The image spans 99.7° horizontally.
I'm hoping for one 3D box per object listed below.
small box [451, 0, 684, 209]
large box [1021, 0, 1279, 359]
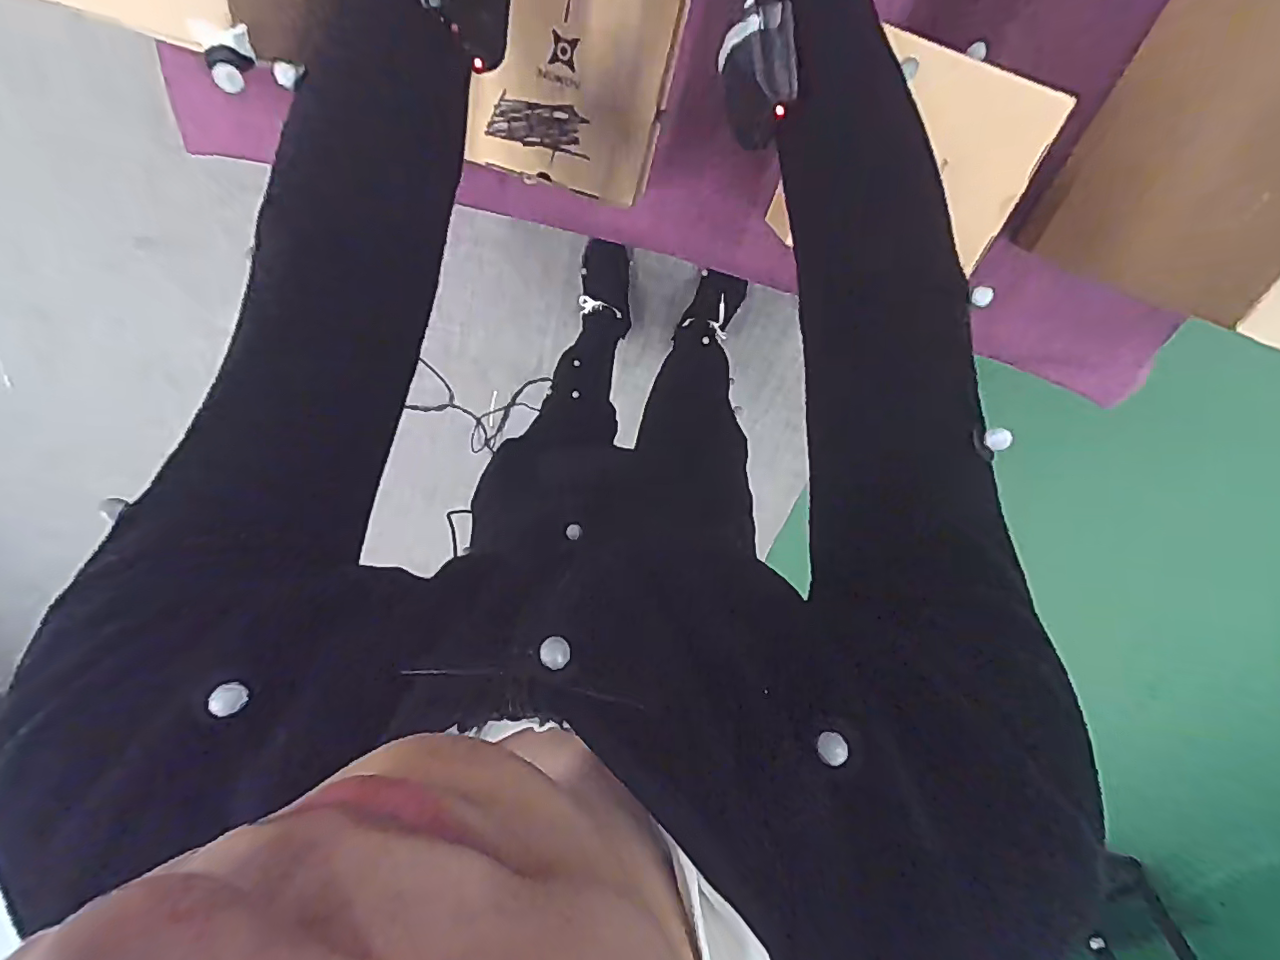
[{"bbox_3d":[-0.058,-0.375,0.496,0.168,0.176,0.179,15,123,-5],"label":"small box"},{"bbox_3d":[0.616,-0.302,0.405,0.320,0.320,0.408,16,124,-4],"label":"large box"}]
